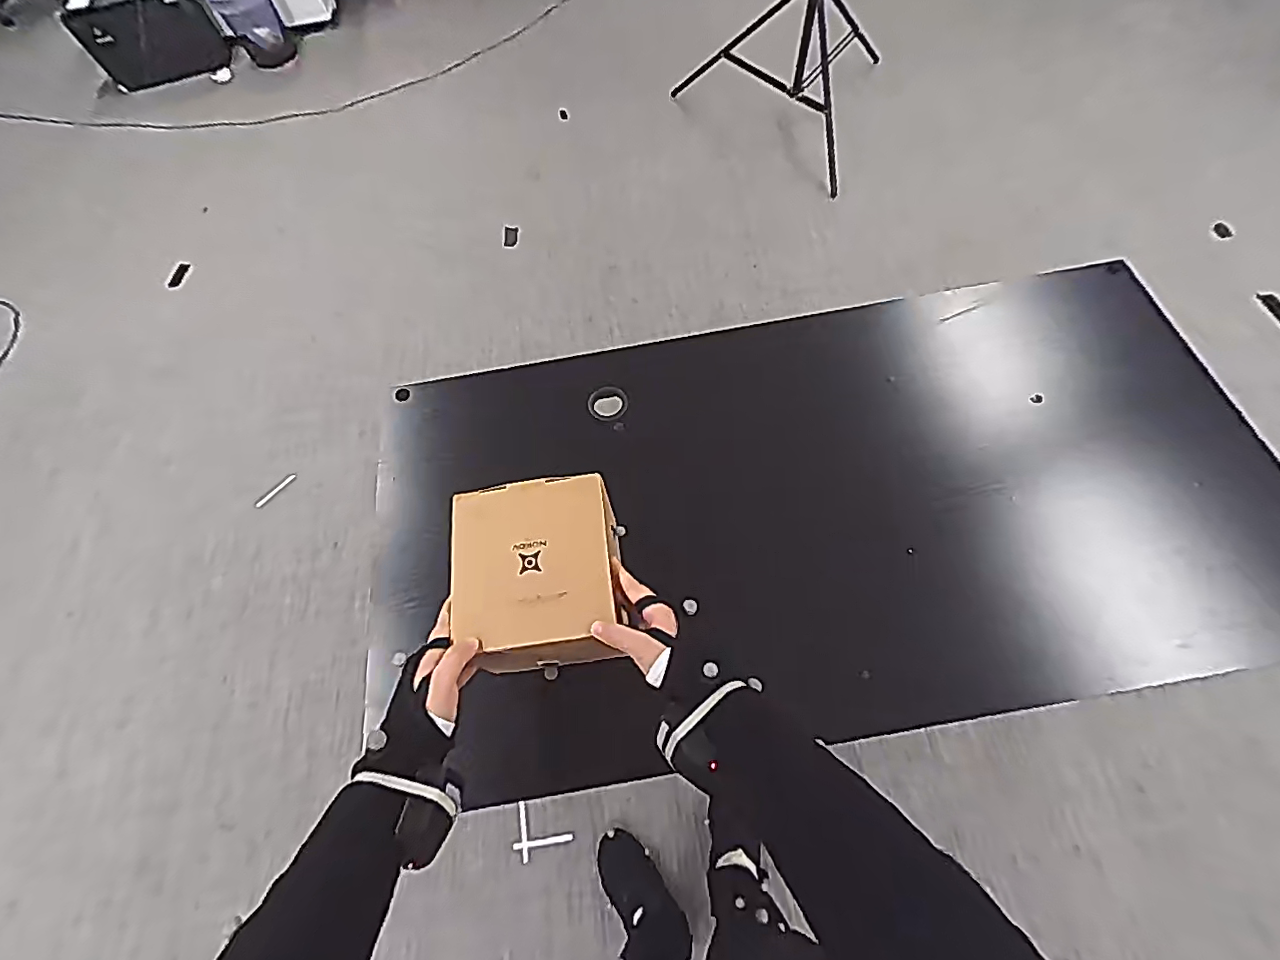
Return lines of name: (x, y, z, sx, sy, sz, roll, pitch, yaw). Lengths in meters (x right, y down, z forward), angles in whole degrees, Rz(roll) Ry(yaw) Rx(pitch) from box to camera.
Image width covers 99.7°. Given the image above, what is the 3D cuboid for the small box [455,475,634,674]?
small box: (-0.103, 0.117, 0.627, 0.168, 0.176, 0.179, -10, 65, 1)
